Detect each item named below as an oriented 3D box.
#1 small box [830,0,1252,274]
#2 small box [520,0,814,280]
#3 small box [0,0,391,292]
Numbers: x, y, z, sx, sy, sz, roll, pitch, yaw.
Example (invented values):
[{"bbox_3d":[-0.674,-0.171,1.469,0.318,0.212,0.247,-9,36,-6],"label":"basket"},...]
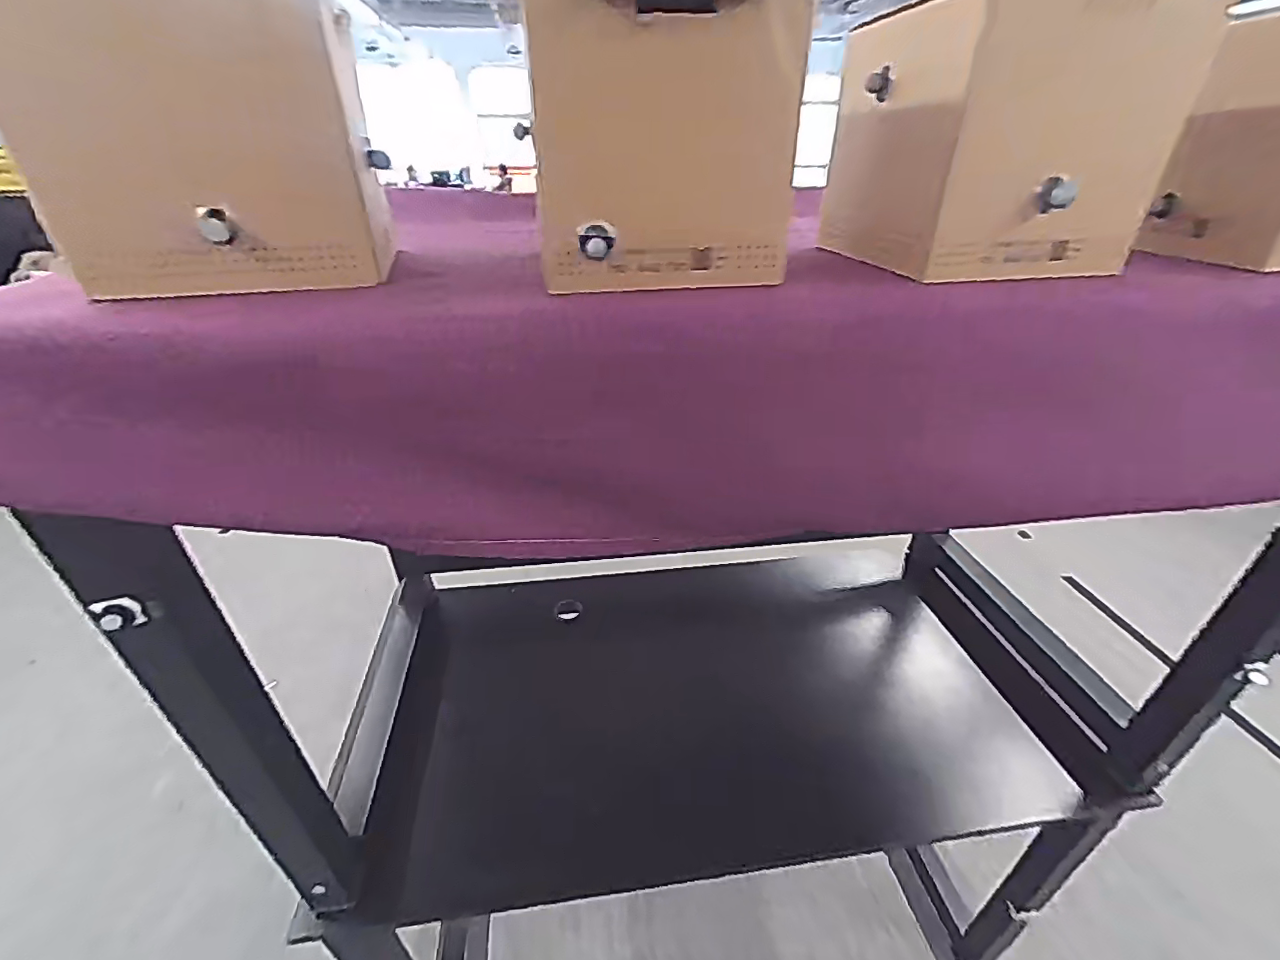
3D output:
[{"bbox_3d":[0.266,-0.260,0.412,0.168,0.176,0.179,-5,32,-8],"label":"small box"},{"bbox_3d":[0.008,-0.243,0.386,0.168,0.176,0.179,-5,31,-8],"label":"small box"},{"bbox_3d":[-0.282,-0.233,0.370,0.179,0.176,0.168,-8,32,-15],"label":"small box"}]
